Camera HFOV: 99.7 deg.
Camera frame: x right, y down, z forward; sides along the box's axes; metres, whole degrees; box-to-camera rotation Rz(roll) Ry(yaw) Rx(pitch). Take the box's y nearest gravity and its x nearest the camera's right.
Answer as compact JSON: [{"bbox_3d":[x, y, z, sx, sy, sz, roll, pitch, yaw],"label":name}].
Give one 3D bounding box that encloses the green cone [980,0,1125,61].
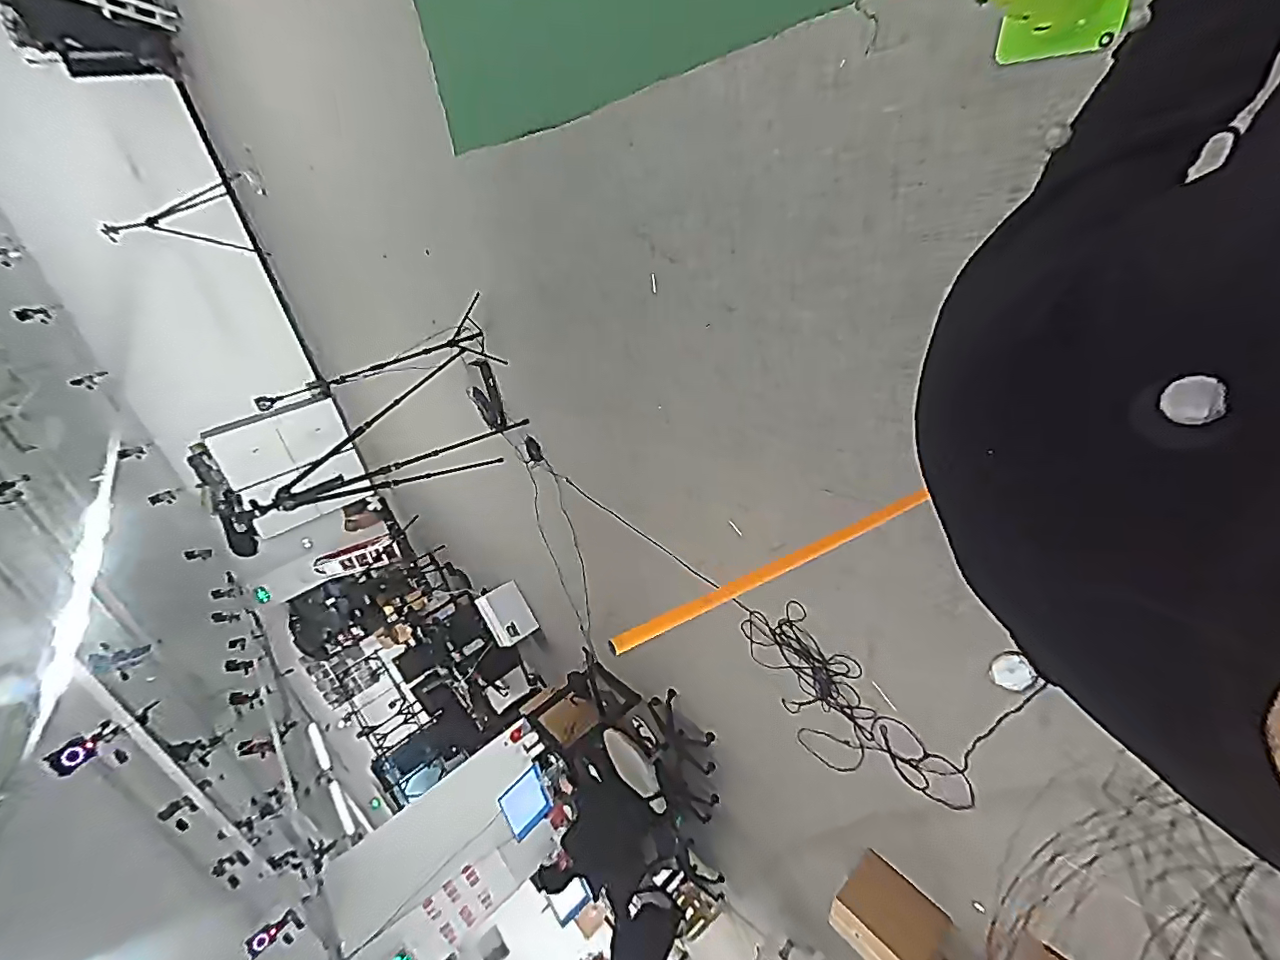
[{"bbox_3d":[0.653,-0.838,0.905,0.202,0.368,0.200,27,135,43],"label":"green cone"}]
